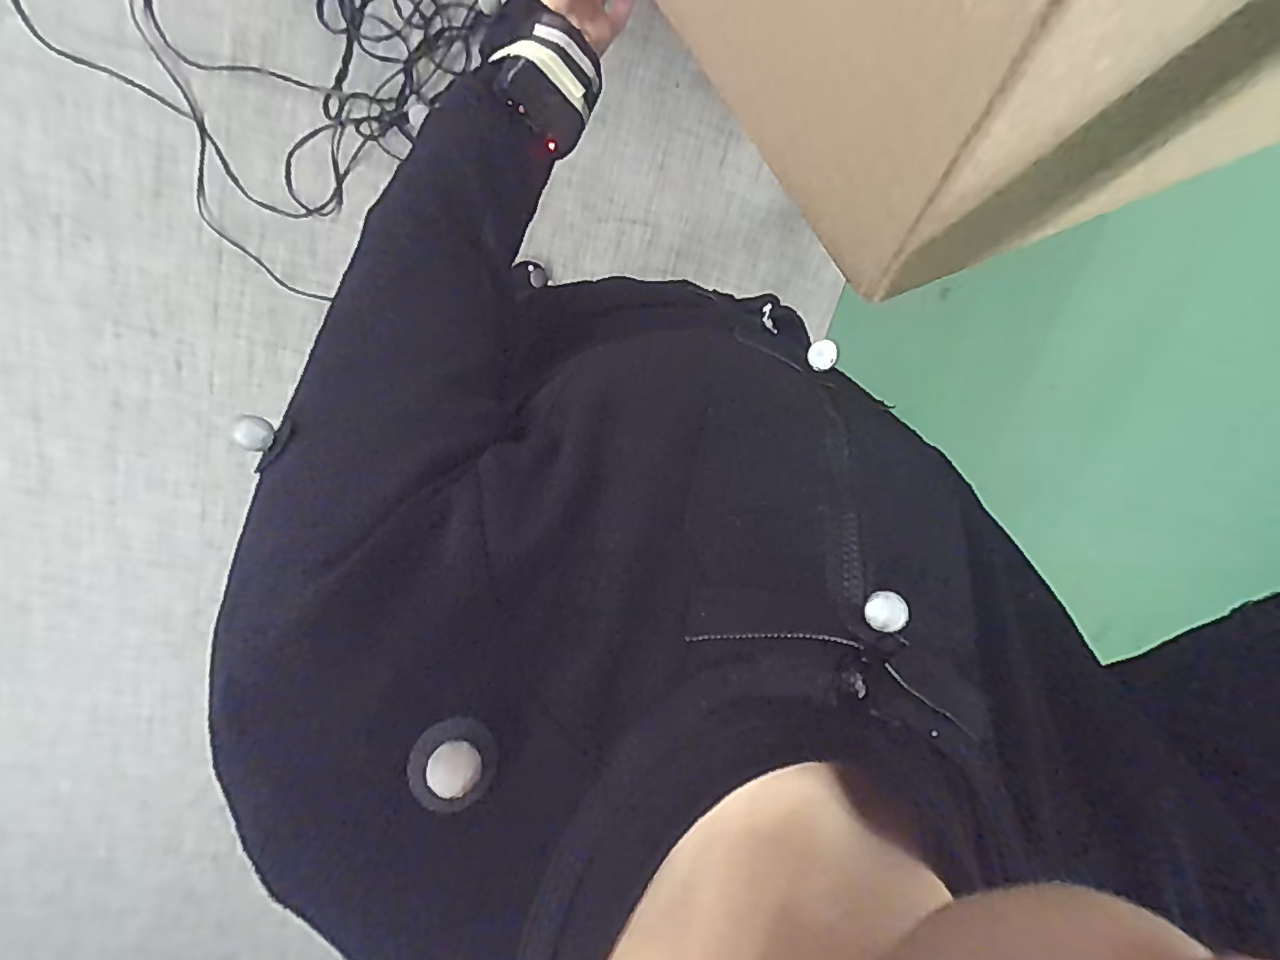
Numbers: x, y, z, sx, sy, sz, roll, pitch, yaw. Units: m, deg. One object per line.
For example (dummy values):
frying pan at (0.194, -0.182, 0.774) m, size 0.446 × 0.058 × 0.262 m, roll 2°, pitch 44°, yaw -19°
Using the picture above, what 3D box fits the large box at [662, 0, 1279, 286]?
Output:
large box at (0.174, -0.376, 0.225) m, size 0.320 × 0.320 × 0.408 m, roll -25°, pitch 74°, yaw -7°
